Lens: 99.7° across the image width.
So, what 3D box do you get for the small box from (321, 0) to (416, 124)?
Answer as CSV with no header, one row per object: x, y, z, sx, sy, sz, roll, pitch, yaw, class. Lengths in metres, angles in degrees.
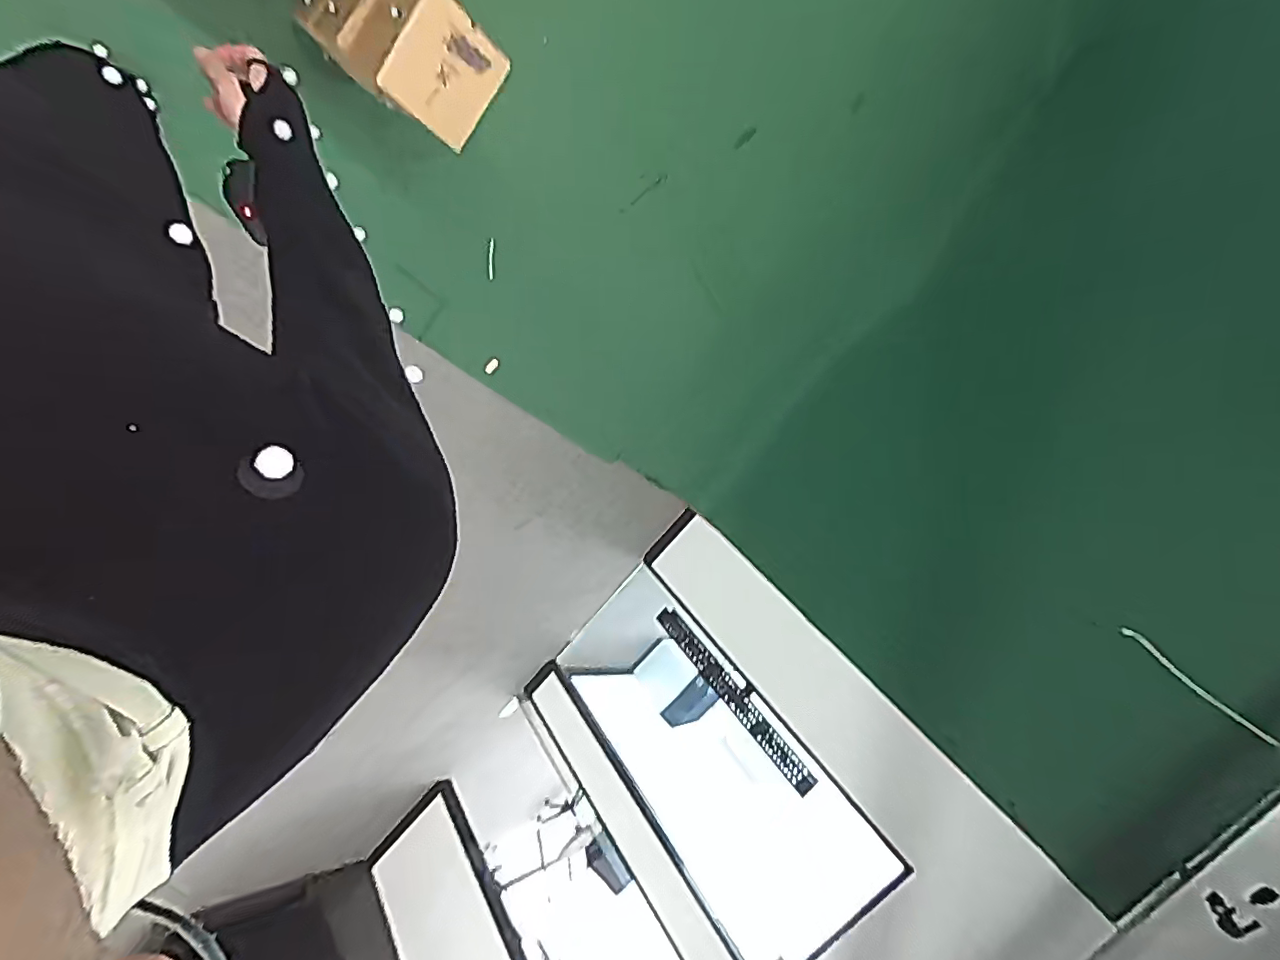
-0.466,-0.826,1.016,0.179,0.176,0.168,-48,148,8,small box

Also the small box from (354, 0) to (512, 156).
-0.365,-0.721,0.942,0.179,0.176,0.168,-50,147,13,small box
